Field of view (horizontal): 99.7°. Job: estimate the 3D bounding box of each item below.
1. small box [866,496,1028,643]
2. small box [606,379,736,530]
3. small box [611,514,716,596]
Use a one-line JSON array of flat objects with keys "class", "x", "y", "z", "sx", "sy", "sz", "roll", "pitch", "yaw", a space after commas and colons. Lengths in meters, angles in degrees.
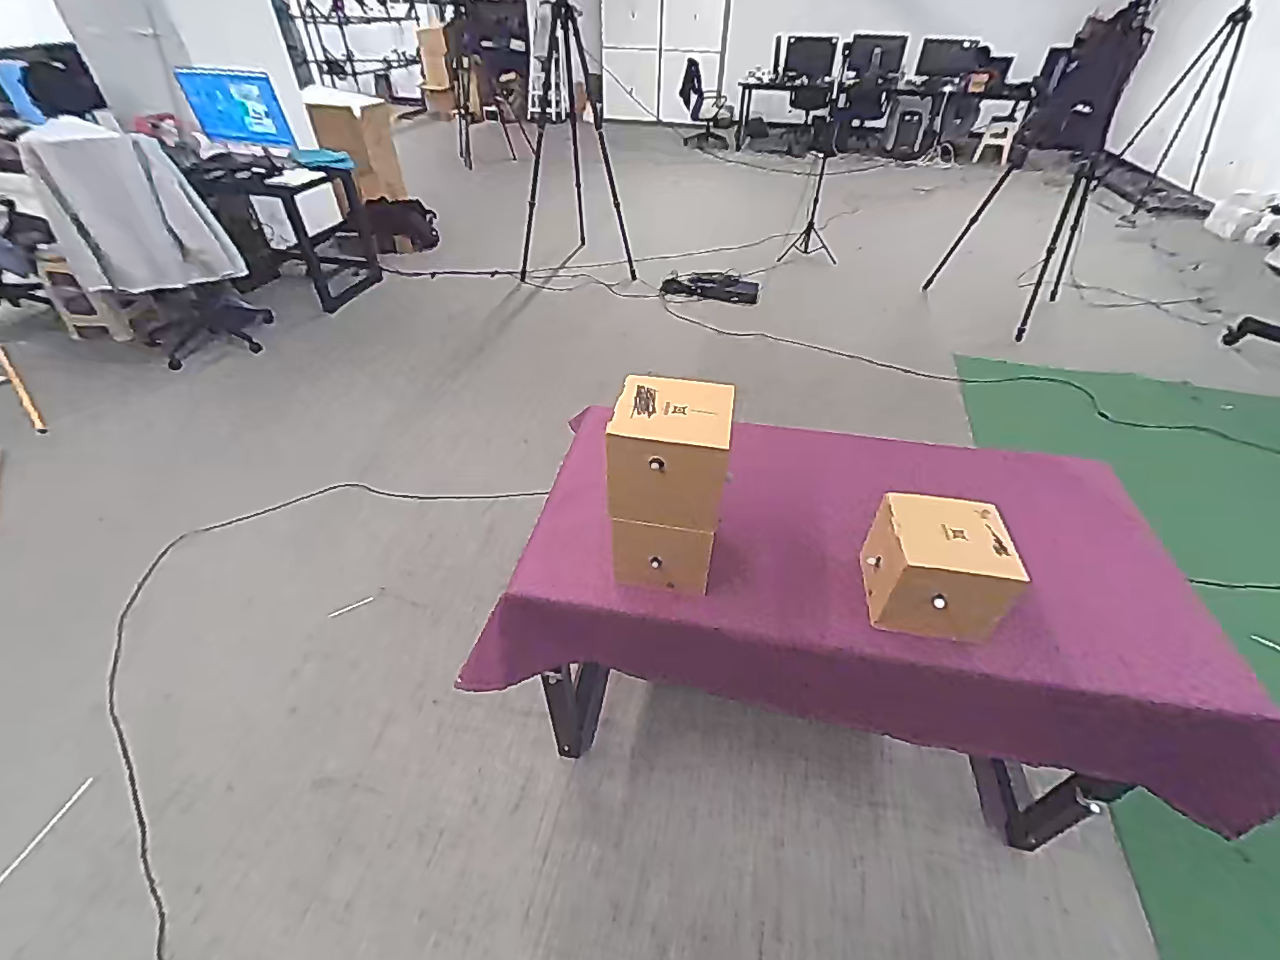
[{"class": "small box", "x": 0.487, "y": 0.148, "z": 0.896, "sx": 0.179, "sy": 0.176, "sz": 0.168, "roll": 6, "pitch": 42, "yaw": 8}, {"class": "small box", "x": 0.050, "y": -0.040, "z": 0.857, "sx": 0.179, "sy": 0.176, "sz": 0.168, "roll": 8, "pitch": 42, "yaw": 7}, {"class": "small box", "x": 0.050, "y": 0.084, "z": 0.965, "sx": 0.168, "sy": 0.176, "sz": 0.179, "roll": 8, "pitch": 41, "yaw": 8}]
